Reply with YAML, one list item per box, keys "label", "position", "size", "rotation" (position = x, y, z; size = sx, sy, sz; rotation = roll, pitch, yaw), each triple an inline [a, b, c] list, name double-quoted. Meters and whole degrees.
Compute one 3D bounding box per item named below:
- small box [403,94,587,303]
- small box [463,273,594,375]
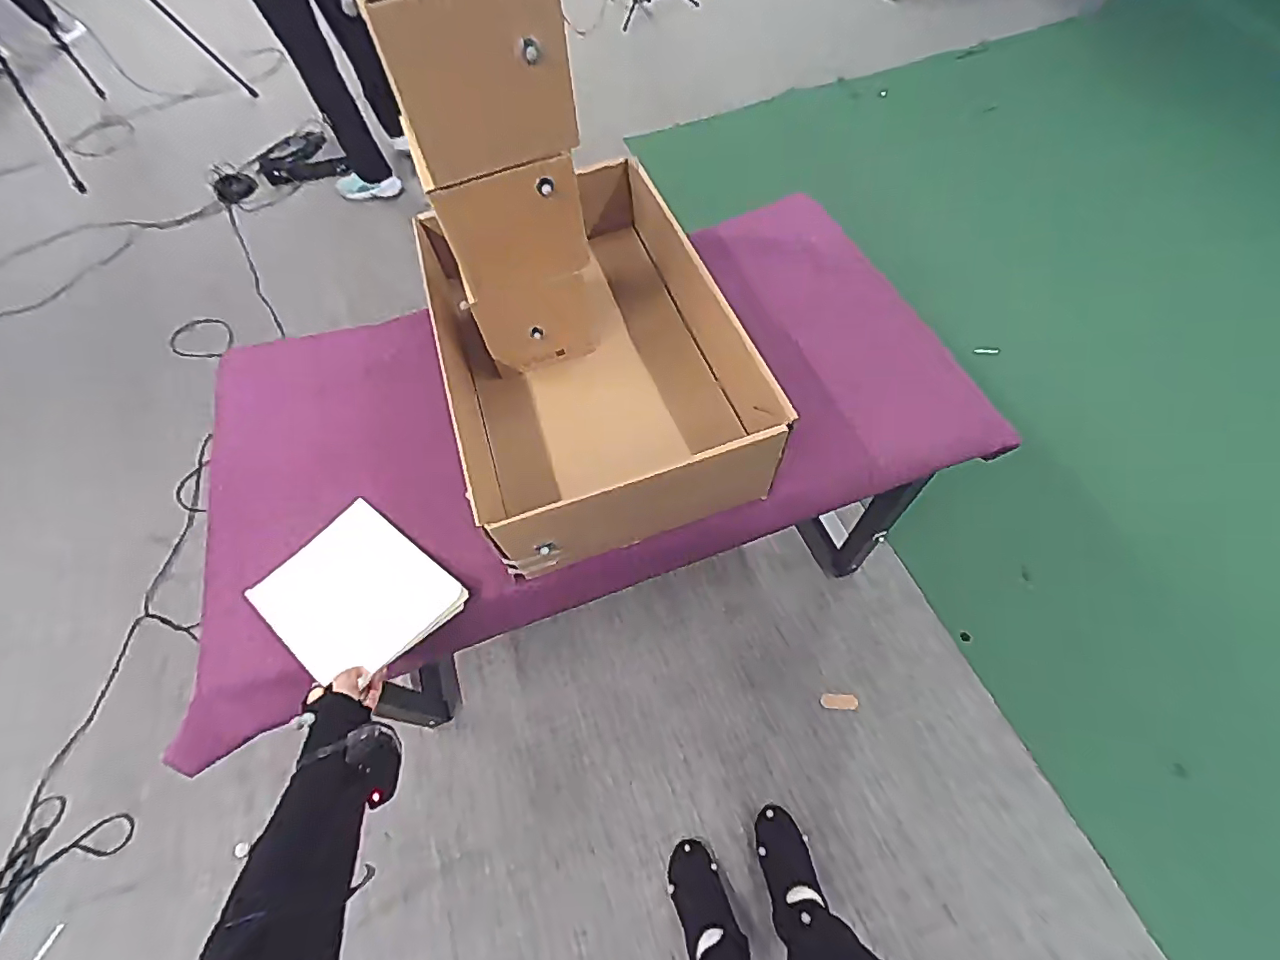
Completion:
- label: "small box"
  position: [-0.185, -0.368, 0.723]
  size: [0.179, 0.176, 0.168]
  rotation: [-21, 62, -8]
- label: "small box"
  position: [-0.181, -0.291, 0.866]
  size: [0.168, 0.176, 0.179]
  rotation: [-19, 62, -6]
